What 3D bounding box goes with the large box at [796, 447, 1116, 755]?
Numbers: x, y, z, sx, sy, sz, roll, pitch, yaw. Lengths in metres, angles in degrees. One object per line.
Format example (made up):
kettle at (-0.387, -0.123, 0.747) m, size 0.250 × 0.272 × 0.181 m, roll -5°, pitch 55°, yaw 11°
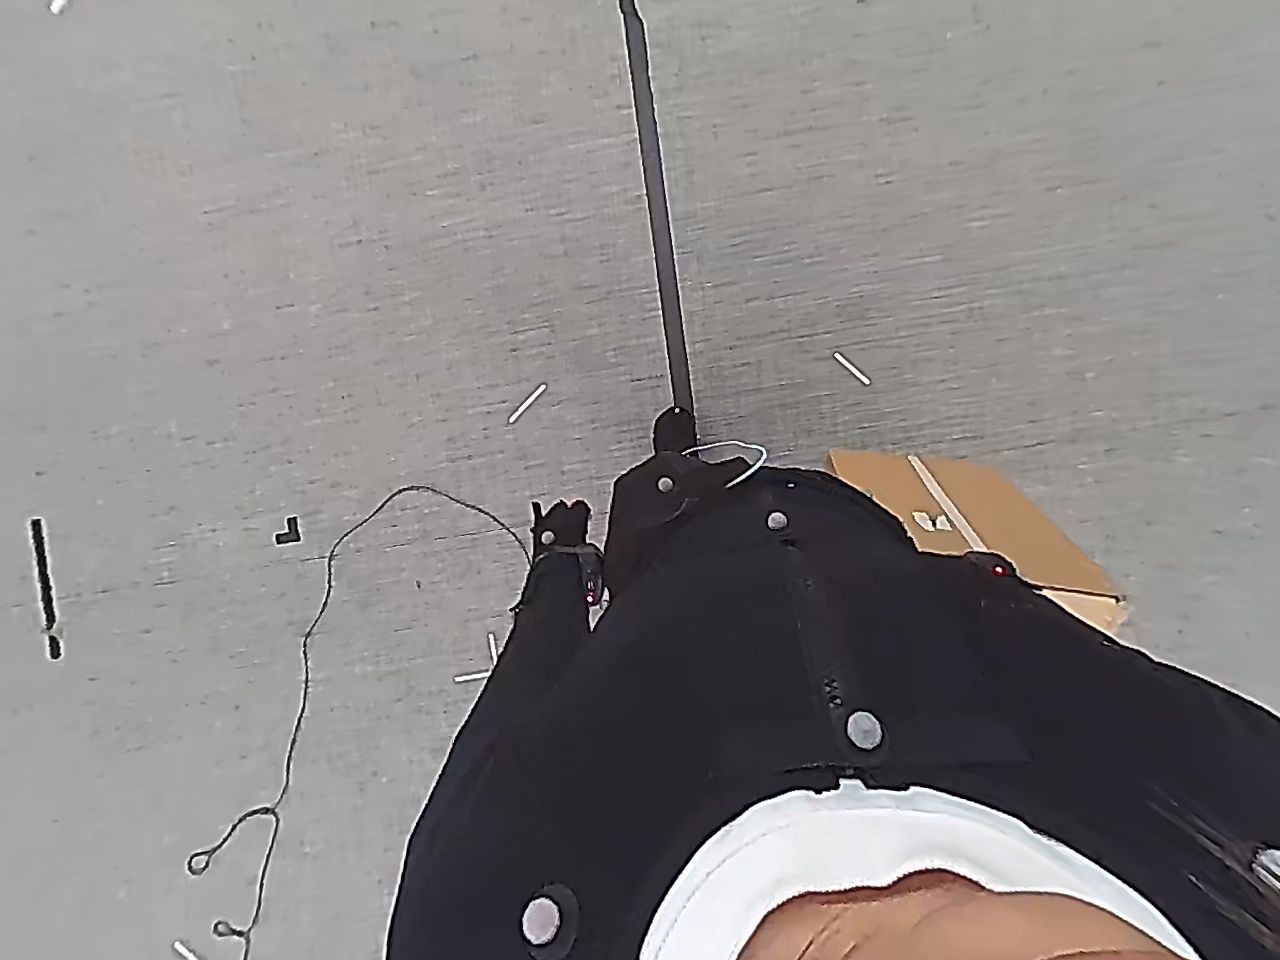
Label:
large box at (0.469, 0.177, 0.934) m, size 0.320 × 0.408 × 0.320 m, roll 6°, pitch 119°, yaw 8°
